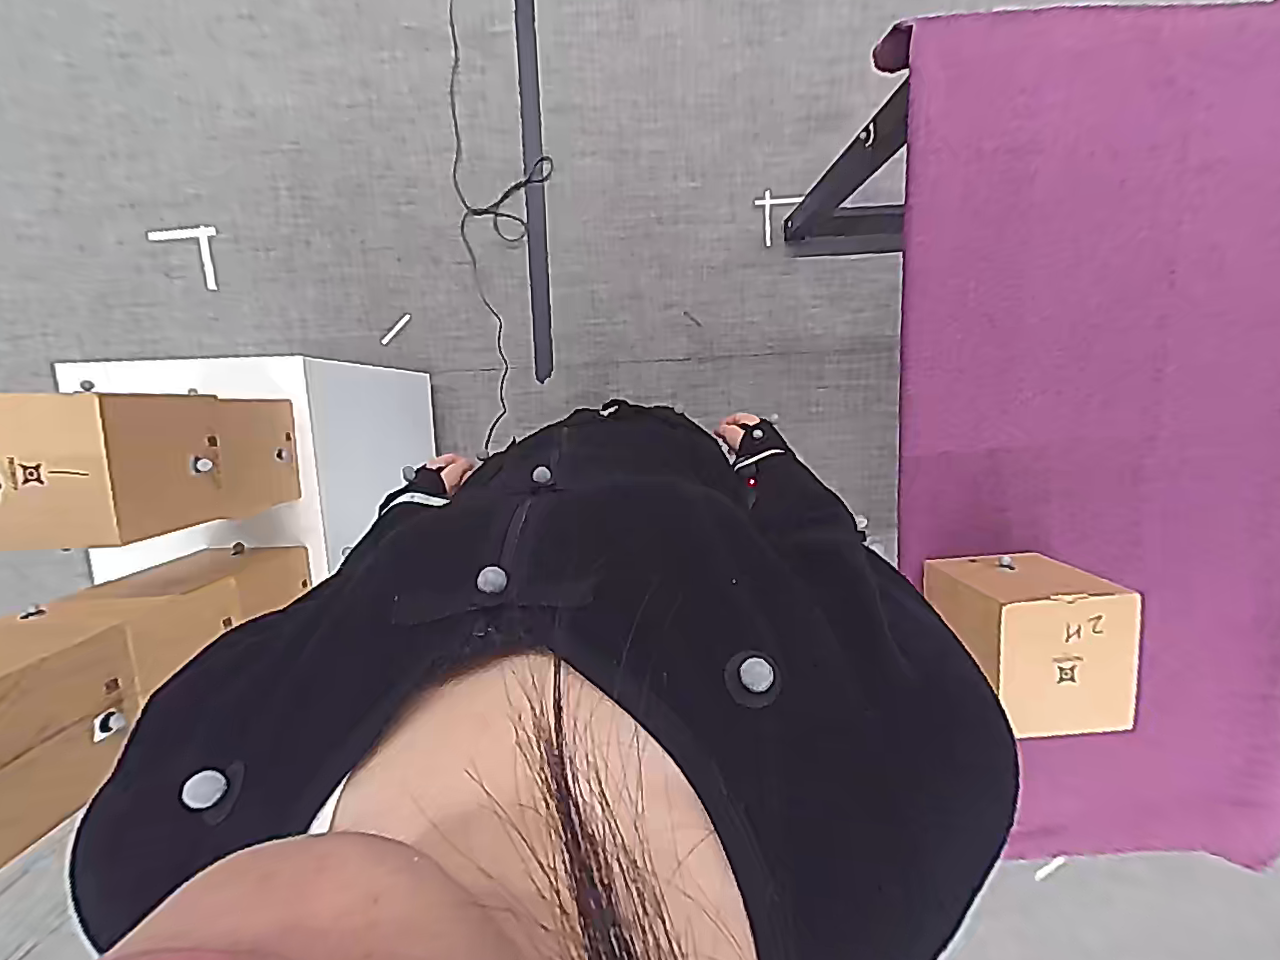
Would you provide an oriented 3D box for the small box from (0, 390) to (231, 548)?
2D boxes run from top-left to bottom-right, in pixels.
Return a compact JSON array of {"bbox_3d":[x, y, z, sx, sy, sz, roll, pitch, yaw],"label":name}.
[{"bbox_3d":[-0.635,-0.021,0.637,0.179,0.176,0.168,0,99,-2],"label":"small box"}]

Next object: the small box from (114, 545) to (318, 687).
[{"bbox_3d":[-0.639,0.202,0.835,0.179,0.176,0.168,-1,99,1],"label":"small box"}]

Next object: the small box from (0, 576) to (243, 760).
[{"bbox_3d":[-0.636,0.225,0.675,0.179,0.176,0.168,-3,98,0],"label":"small box"}]

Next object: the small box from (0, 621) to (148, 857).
[{"bbox_3d":[-0.636,0.246,0.514,0.179,0.176,0.168,-3,99,-1],"label":"small box"}]

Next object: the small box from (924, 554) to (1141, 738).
[{"bbox_3d":[0.499,0.209,0.714,0.168,0.176,0.179,-4,98,-1],"label":"small box"}]
